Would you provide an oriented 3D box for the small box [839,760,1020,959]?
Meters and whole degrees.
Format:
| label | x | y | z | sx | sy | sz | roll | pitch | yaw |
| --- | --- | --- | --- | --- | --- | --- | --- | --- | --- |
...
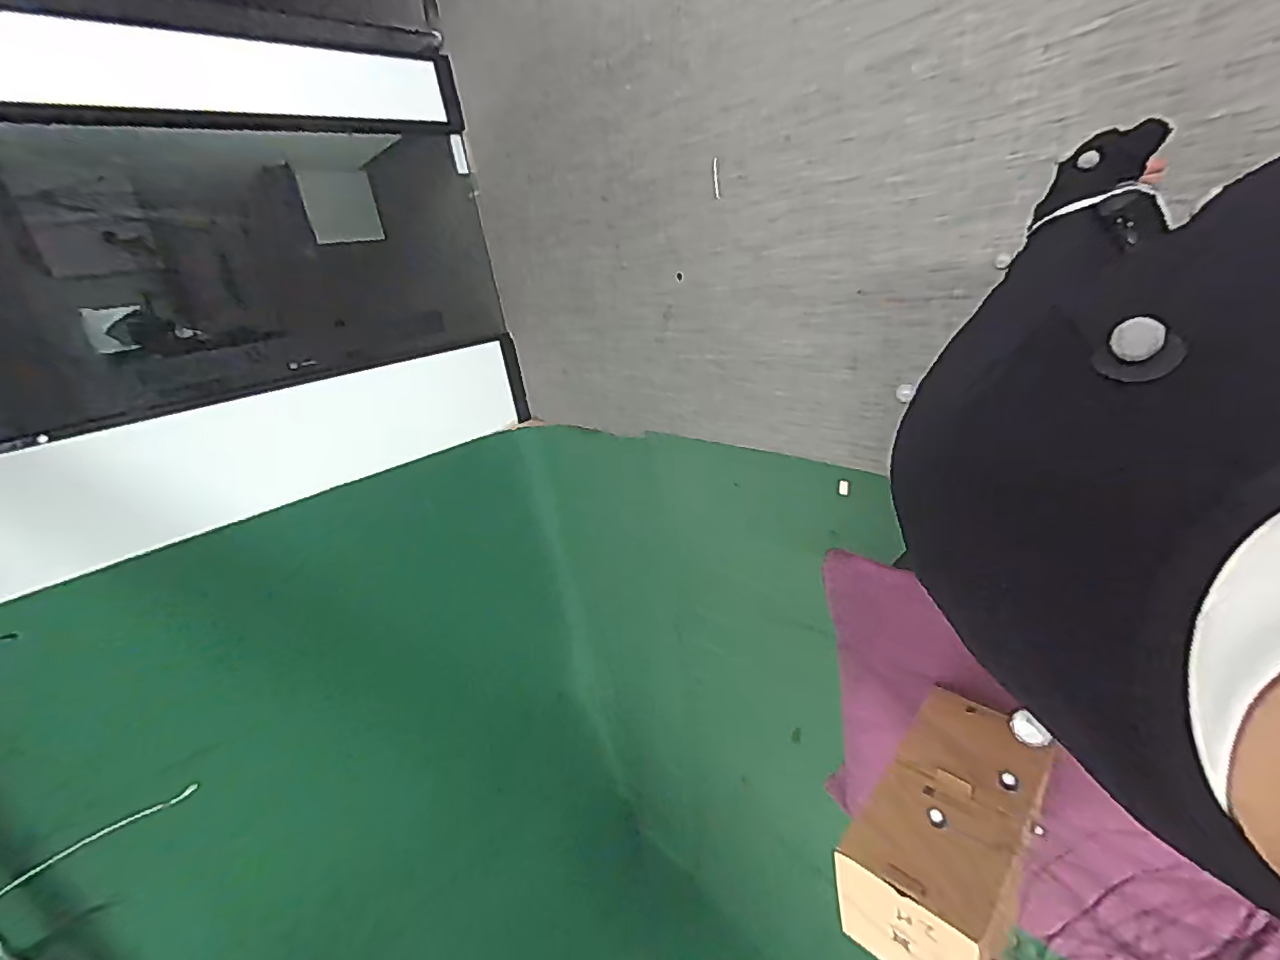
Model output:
| label | x | y | z | sx | sy | sz | roll | pitch | yaw |
| --- | --- | --- | --- | --- | --- | --- | --- | --- | --- |
| small box | 0.388 | 0.527 | 0.724 | 0.168 | 0.176 | 0.179 | 11 | 120 | 46 |
